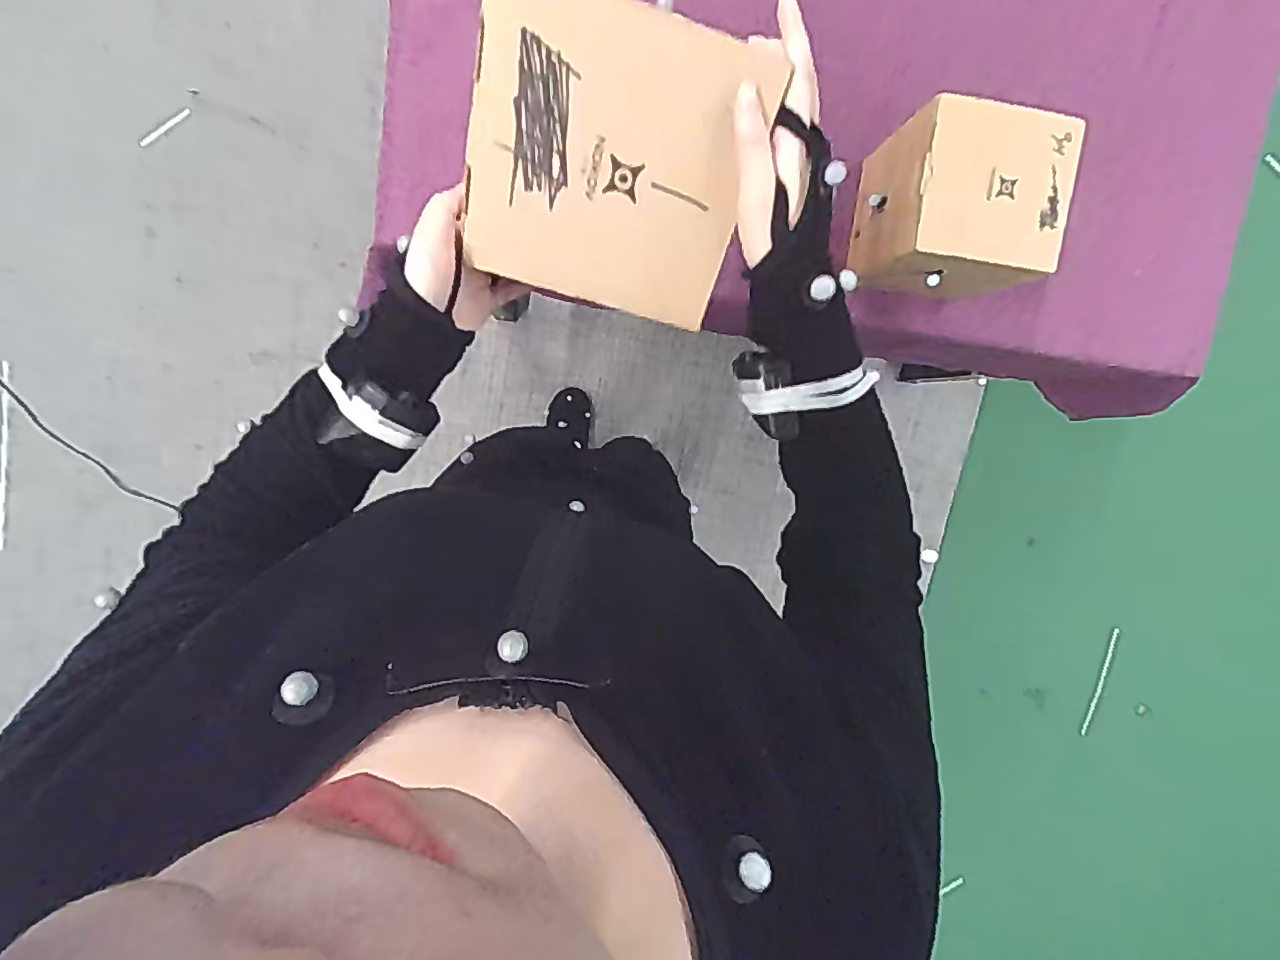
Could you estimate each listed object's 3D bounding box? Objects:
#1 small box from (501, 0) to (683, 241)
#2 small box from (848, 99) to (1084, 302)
[{"bbox_3d":[-0.055,-0.398,0.625,0.168,0.176,0.179,8,97,-7],"label":"small box"},{"bbox_3d":[0.385,-0.328,0.672,0.179,0.176,0.168,7,97,-5],"label":"small box"}]
